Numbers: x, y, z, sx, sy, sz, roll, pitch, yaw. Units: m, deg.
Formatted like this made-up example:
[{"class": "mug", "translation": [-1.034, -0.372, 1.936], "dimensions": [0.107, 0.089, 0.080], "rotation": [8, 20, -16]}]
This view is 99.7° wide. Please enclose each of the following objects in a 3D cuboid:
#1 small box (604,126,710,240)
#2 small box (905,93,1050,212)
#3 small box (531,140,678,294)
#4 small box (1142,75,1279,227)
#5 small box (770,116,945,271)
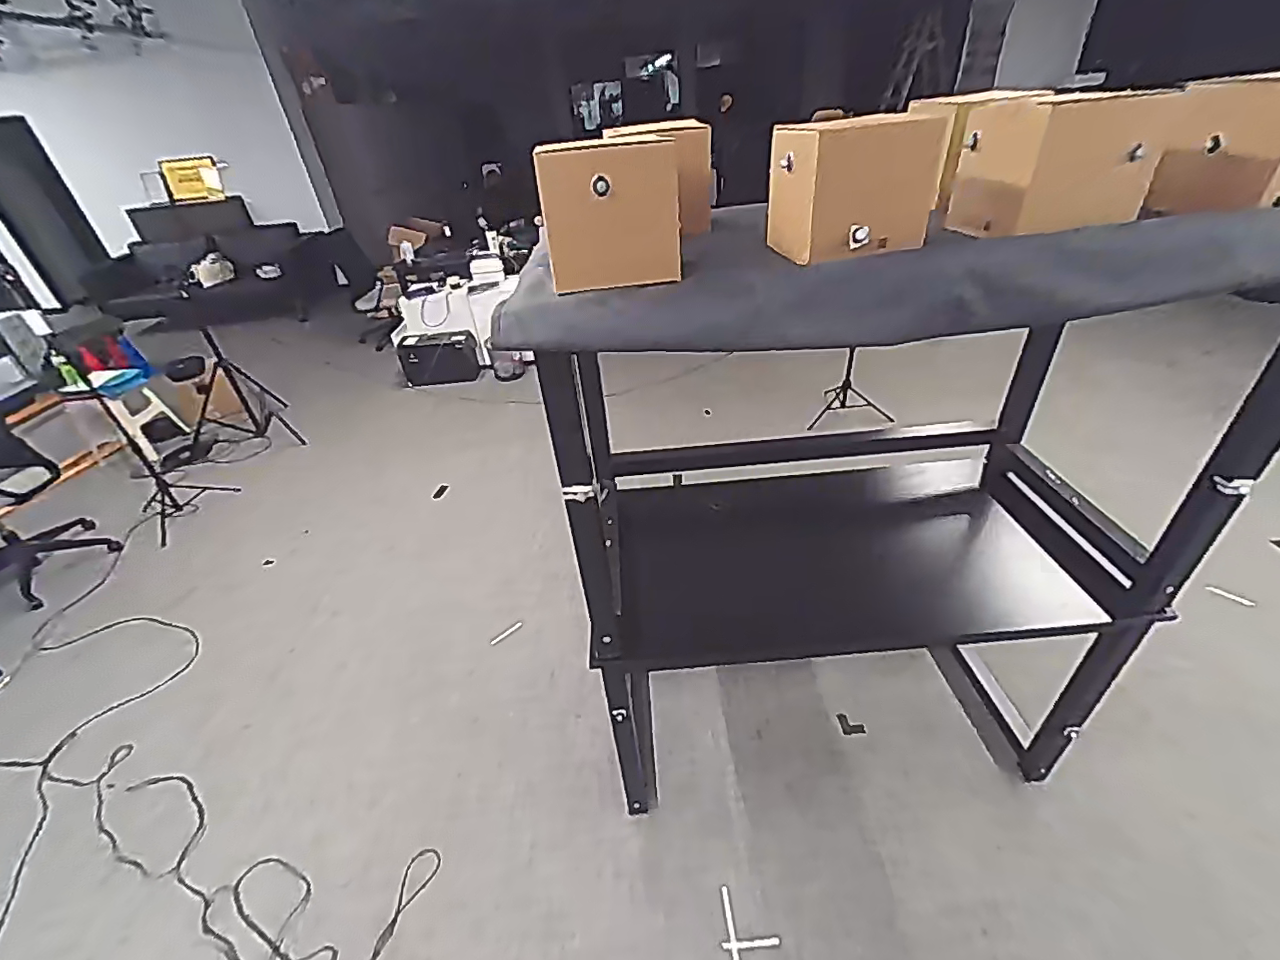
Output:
[{"class": "small box", "translation": [0.027, -0.545, 0.998], "dimensions": [0.179, 0.176, 0.168], "rotation": [-6, 35, -2]}, {"class": "small box", "translation": [0.602, -0.606, 1.007], "dimensions": [0.168, 0.176, 0.179], "rotation": [-6, 35, 0]}, {"class": "small box", "translation": [-0.048, -0.367, 0.754], "dimensions": [0.179, 0.176, 0.168], "rotation": [-7, 34, -4]}, {"class": "small box", "translation": [0.882, -0.462, 0.759], "dimensions": [0.168, 0.176, 0.179], "rotation": [-7, 34, -2]}, {"class": "small box", "translation": [0.288, -0.404, 0.764], "dimensions": [0.168, 0.176, 0.179], "rotation": [-9, 34, -3]}]
